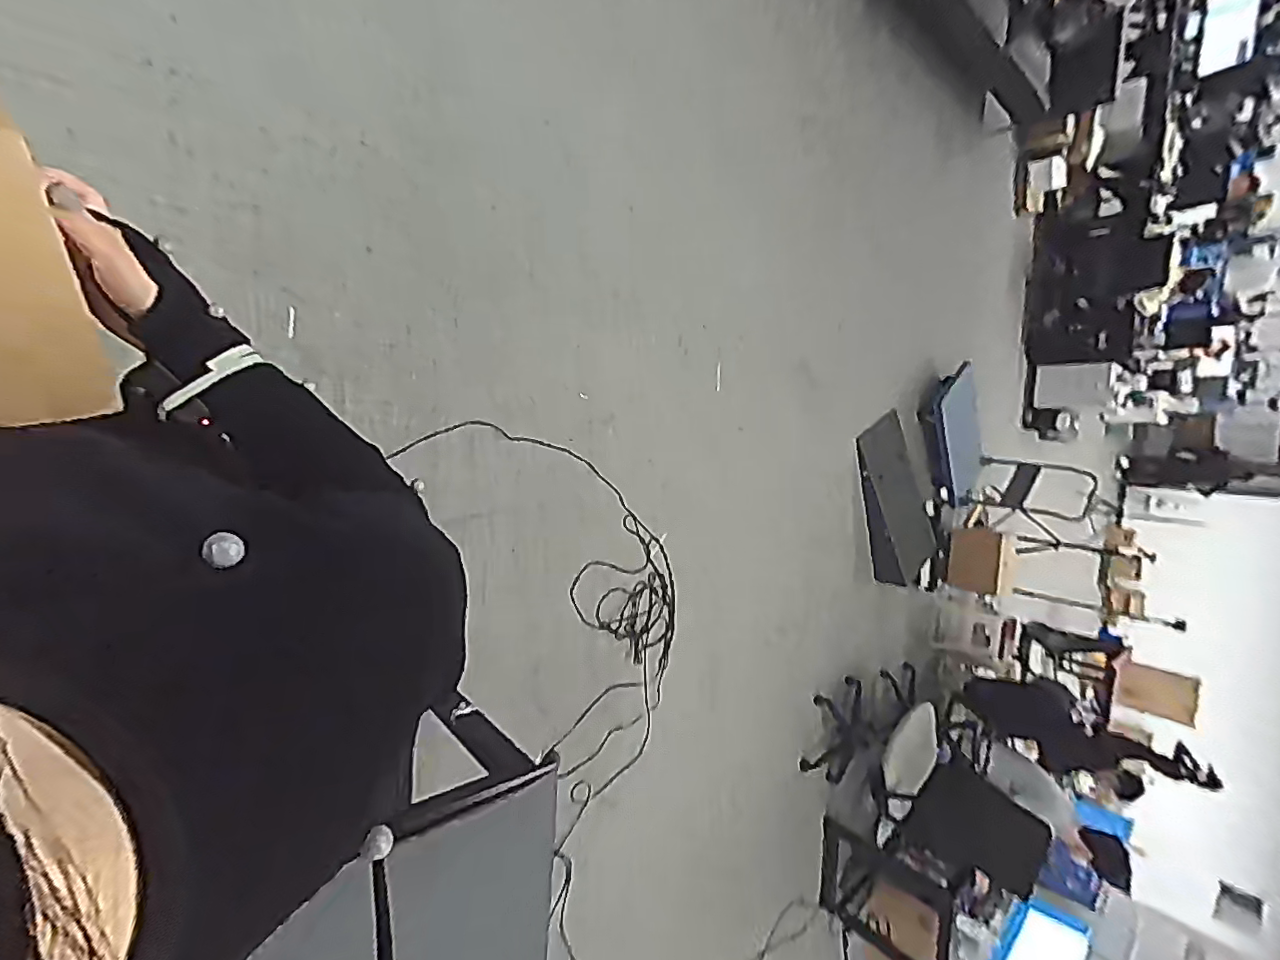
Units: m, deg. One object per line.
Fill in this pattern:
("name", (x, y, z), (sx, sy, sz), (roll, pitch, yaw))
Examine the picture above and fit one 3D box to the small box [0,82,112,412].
("small box", (-0.442, -0.144, 0.292), (0.168, 0.176, 0.179), (-24, 144, -44))
